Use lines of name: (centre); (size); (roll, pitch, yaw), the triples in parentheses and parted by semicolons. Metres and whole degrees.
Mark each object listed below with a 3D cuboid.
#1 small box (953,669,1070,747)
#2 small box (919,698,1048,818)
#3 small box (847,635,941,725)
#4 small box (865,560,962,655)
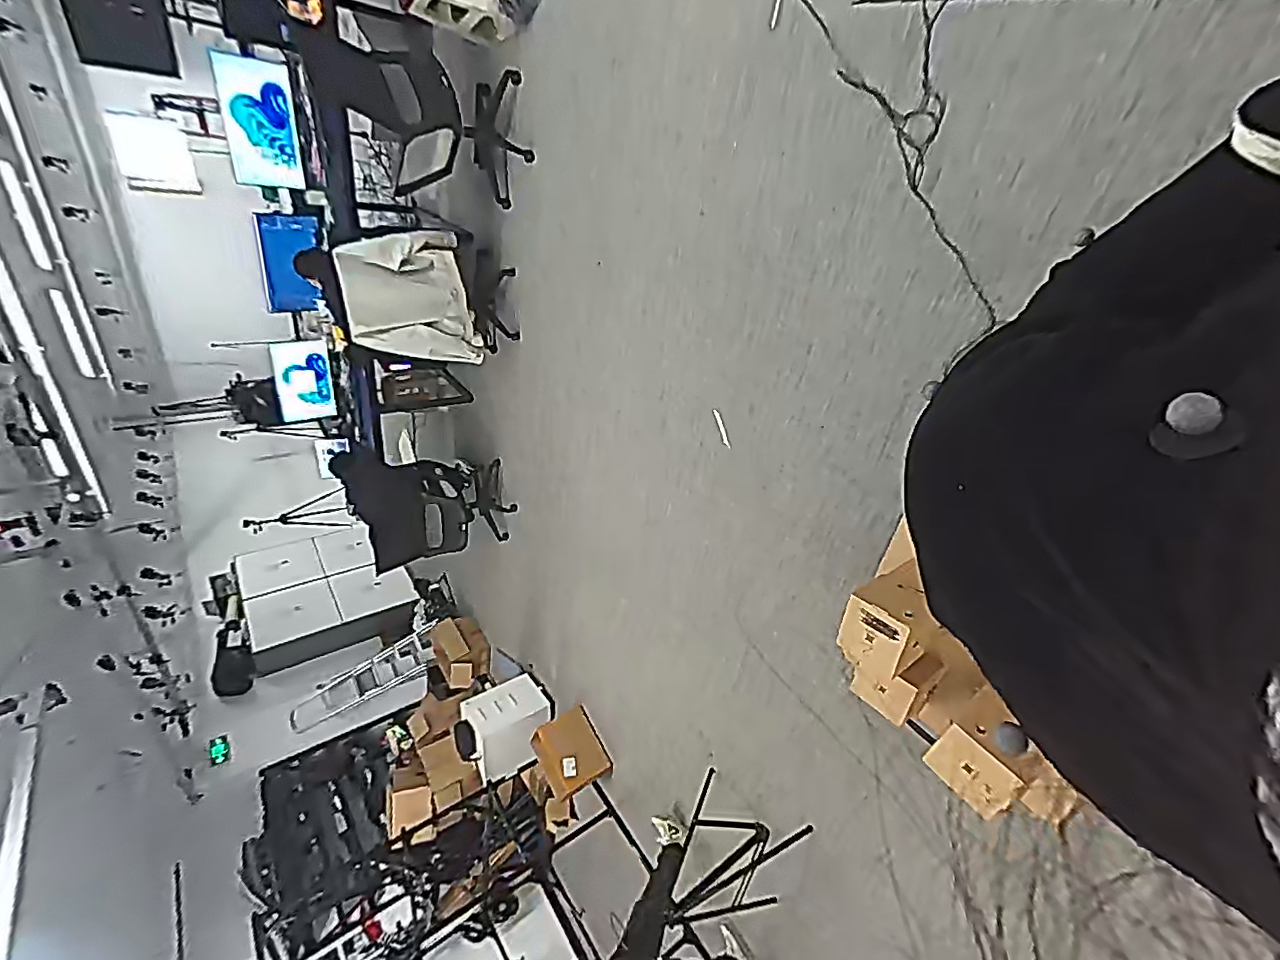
small box: (0.952, 0.616, 1.395); (0.179, 0.176, 0.168); (41, 132, 37)
small box: (0.824, 0.654, 1.299); (0.179, 0.176, 0.168); (42, 133, 36)
small box: (0.769, 0.592, 1.639); (0.179, 0.176, 0.168); (34, 129, 42)
small box: (0.778, 0.352, 1.533); (0.168, 0.176, 0.179); (35, 129, 42)
